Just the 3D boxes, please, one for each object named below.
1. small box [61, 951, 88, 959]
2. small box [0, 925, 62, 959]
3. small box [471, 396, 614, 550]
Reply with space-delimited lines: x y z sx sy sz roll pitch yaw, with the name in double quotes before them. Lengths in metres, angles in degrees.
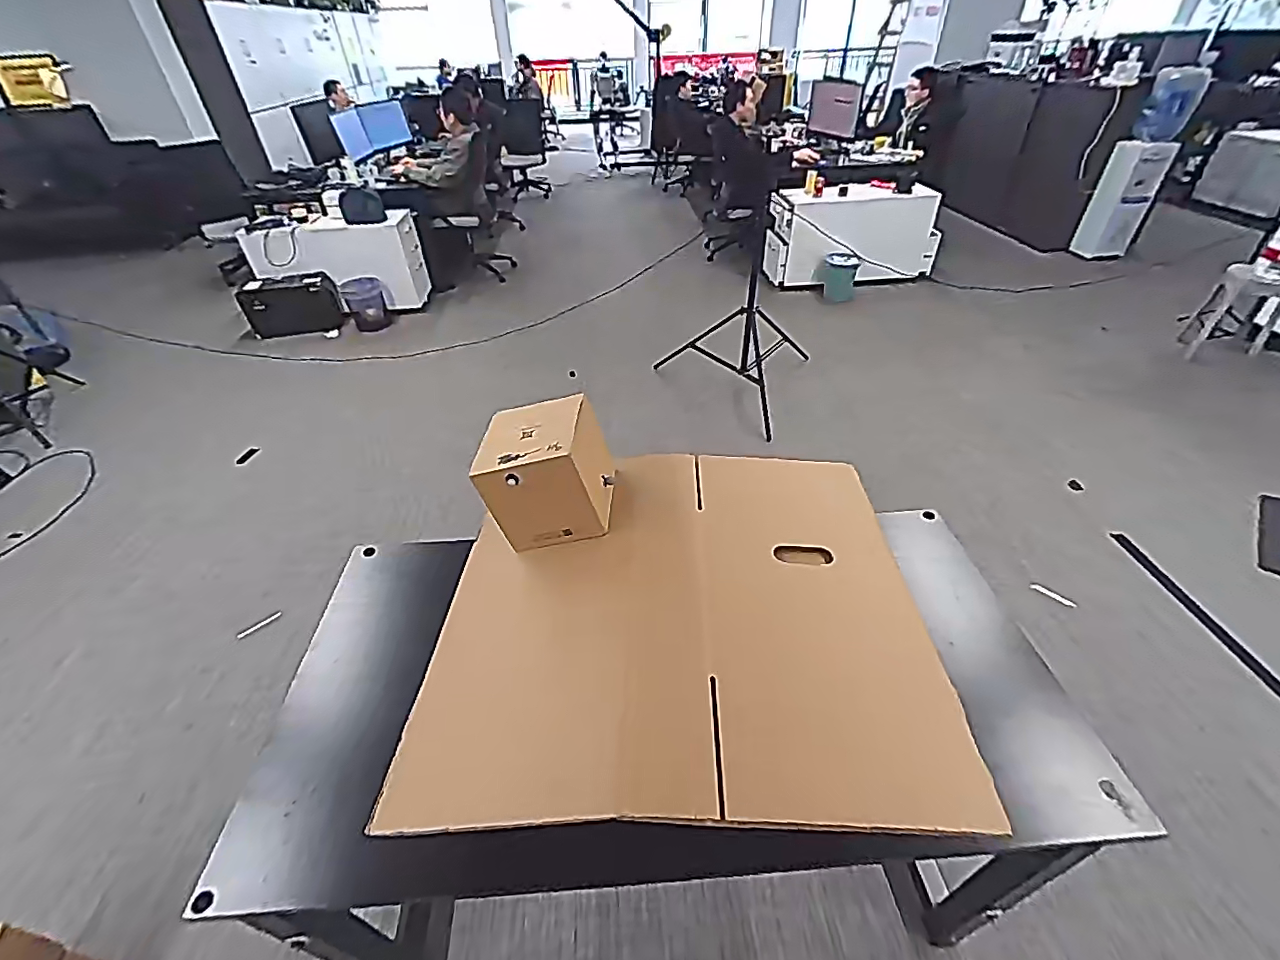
"small box" -1.189 1.053 1.044 0.168 0.176 0.179 -6 40 -5
"small box" -1.196 0.924 0.945 0.168 0.176 0.179 -8 39 -8
"small box" -0.148 -0.011 0.896 0.168 0.176 0.179 -12 37 12
